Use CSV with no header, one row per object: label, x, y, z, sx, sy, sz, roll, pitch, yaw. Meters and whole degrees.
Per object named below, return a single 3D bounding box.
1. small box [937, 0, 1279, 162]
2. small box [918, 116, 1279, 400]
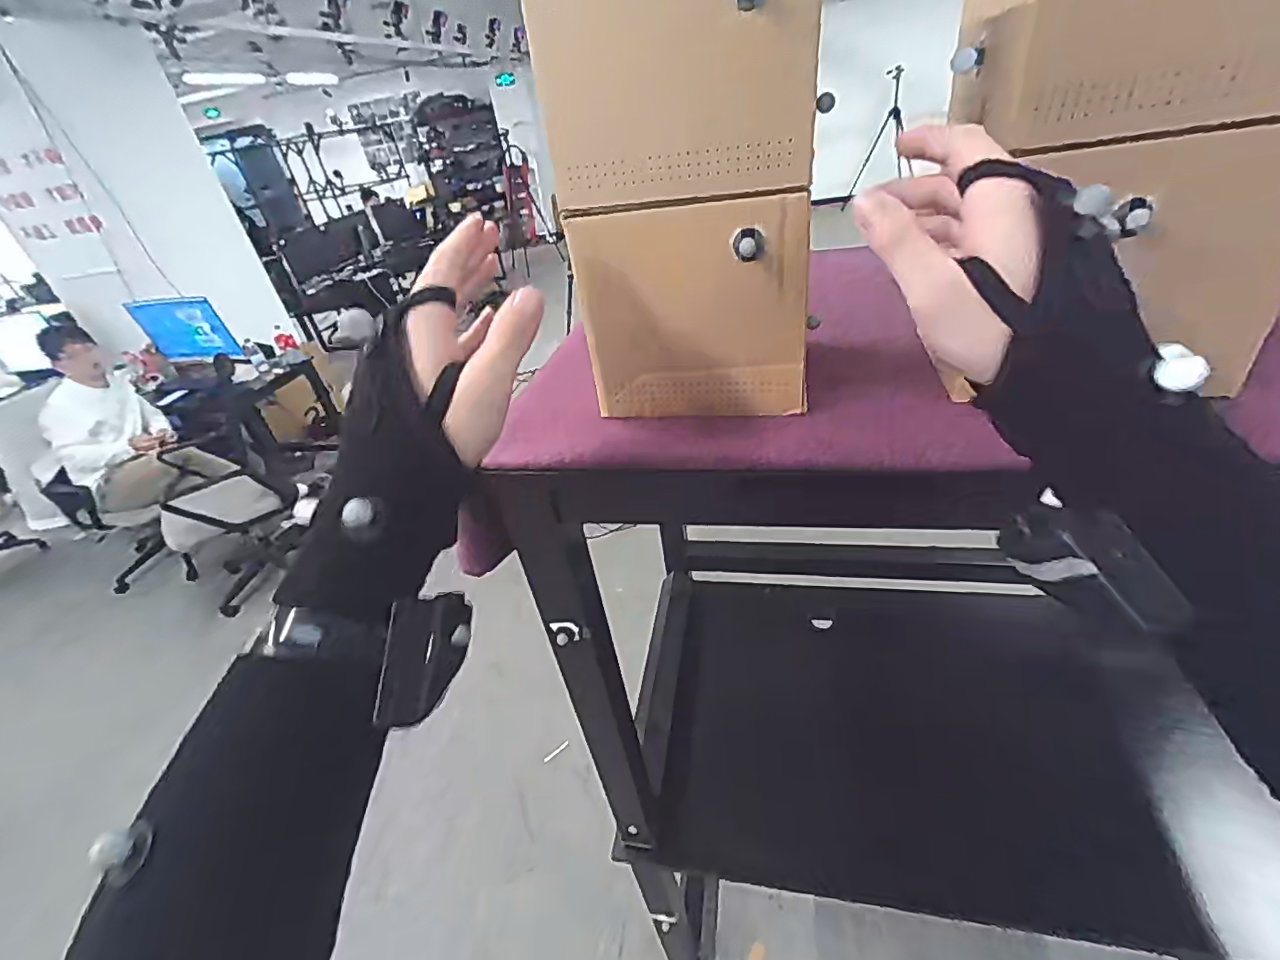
small box,0.296,-0.302,0.319,0.179,0.176,0.168,-1,35,17
small box,0.321,-0.168,0.410,0.179,0.176,0.168,0,35,17
